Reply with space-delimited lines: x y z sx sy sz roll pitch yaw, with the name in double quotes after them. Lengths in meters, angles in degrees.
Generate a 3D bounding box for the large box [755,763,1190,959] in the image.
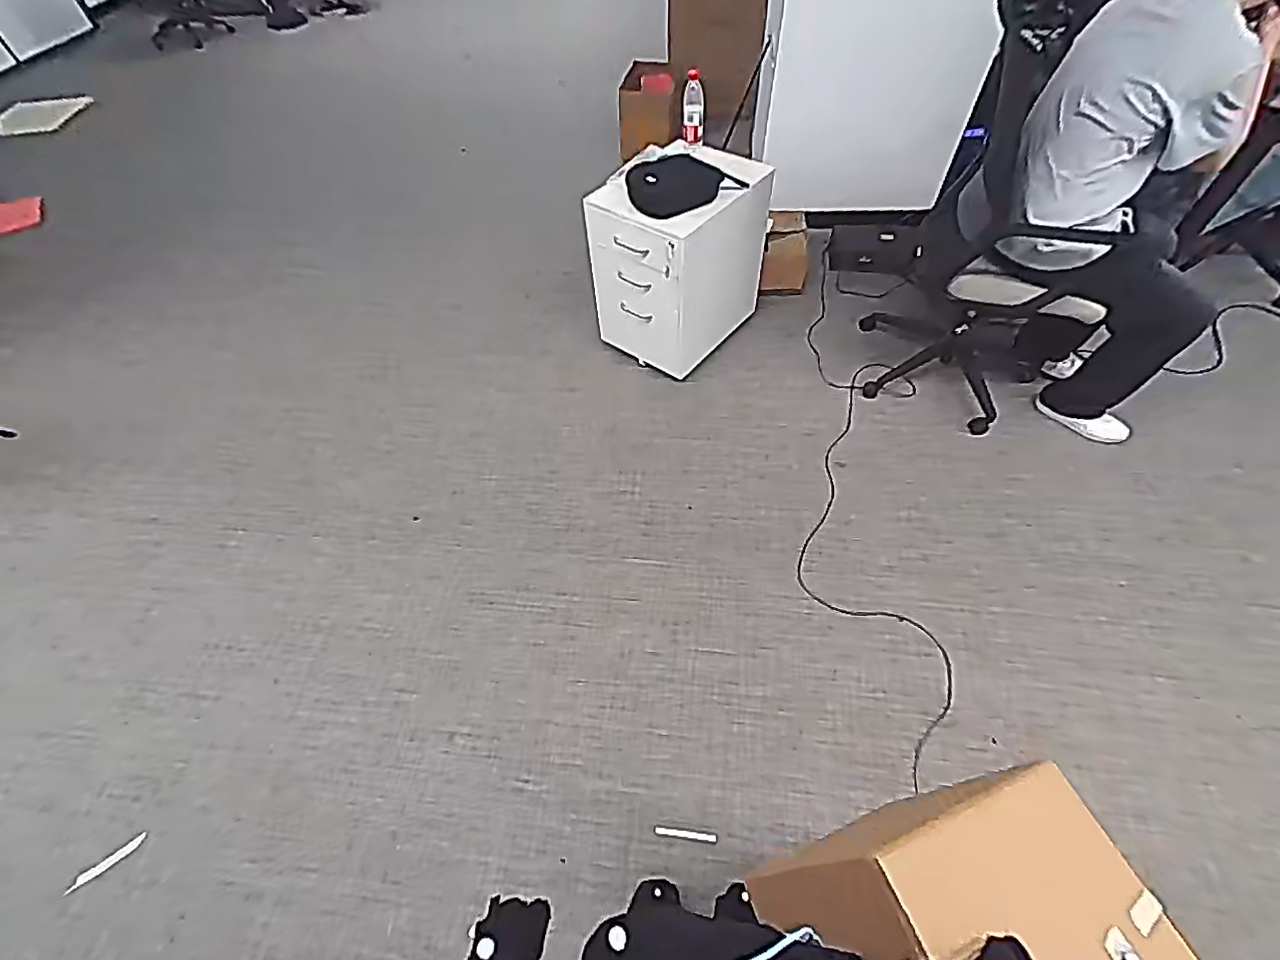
0.417 0.633 0.726 0.320 0.408 0.320 -10 54 -20 "large box"
